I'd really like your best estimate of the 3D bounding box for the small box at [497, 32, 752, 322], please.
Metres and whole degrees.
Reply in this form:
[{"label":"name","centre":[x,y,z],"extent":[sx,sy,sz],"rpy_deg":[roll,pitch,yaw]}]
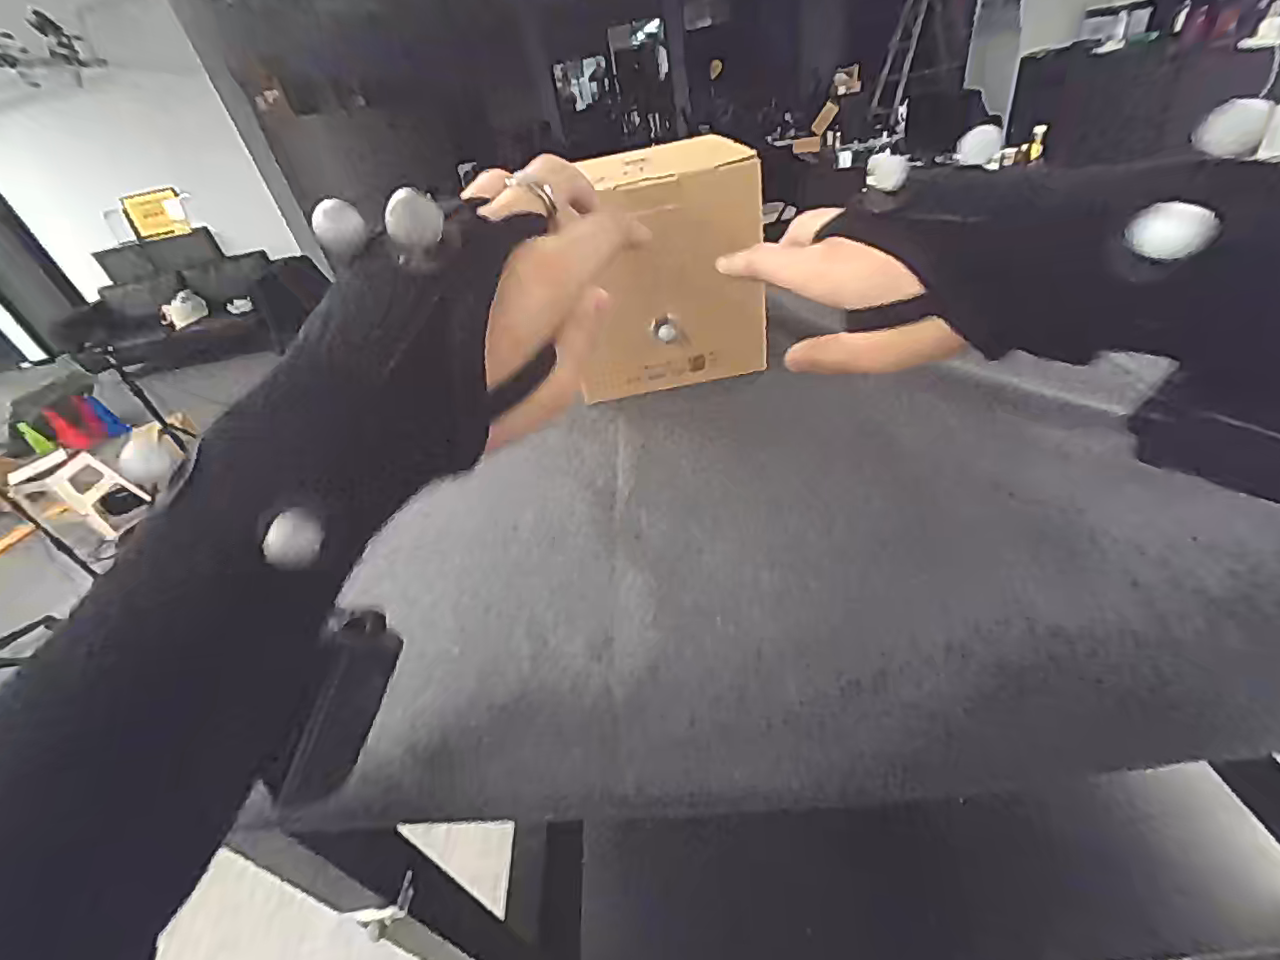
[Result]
[{"label":"small box","centre":[-0.007,-0.252,0.457],"extent":[0.168,0.176,0.179],"rpy_deg":[-11,38,1]}]
